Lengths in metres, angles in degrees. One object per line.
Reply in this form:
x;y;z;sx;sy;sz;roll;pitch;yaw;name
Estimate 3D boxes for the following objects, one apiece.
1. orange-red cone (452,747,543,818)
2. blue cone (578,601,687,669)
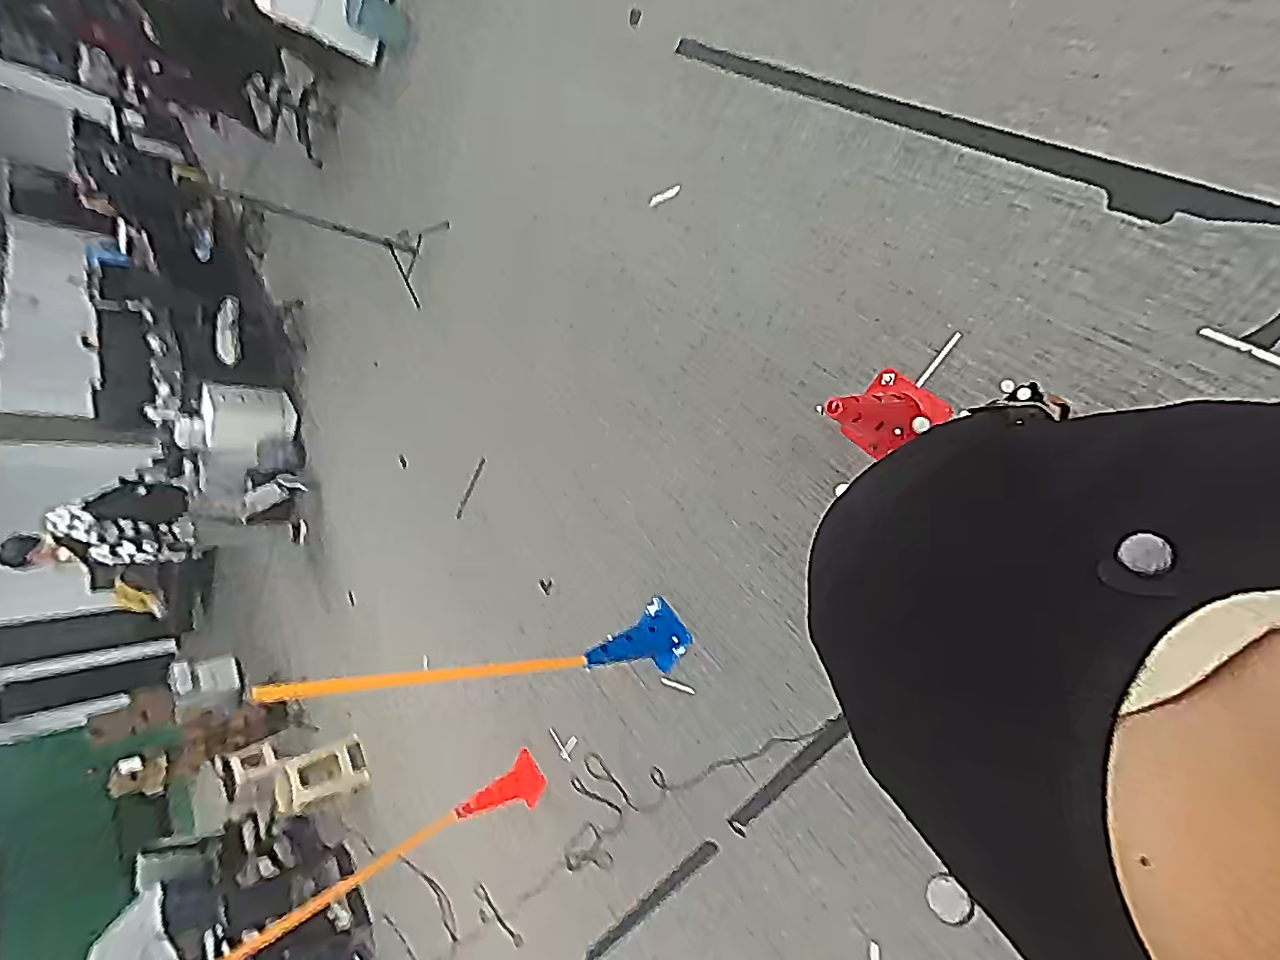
-0.620;1.322;2.280;0.199;0.360;0.198;42;118;33;orange-red cone
-0.041;0.536;1.749;0.193;0.380;0.192;50;123;30;blue cone
